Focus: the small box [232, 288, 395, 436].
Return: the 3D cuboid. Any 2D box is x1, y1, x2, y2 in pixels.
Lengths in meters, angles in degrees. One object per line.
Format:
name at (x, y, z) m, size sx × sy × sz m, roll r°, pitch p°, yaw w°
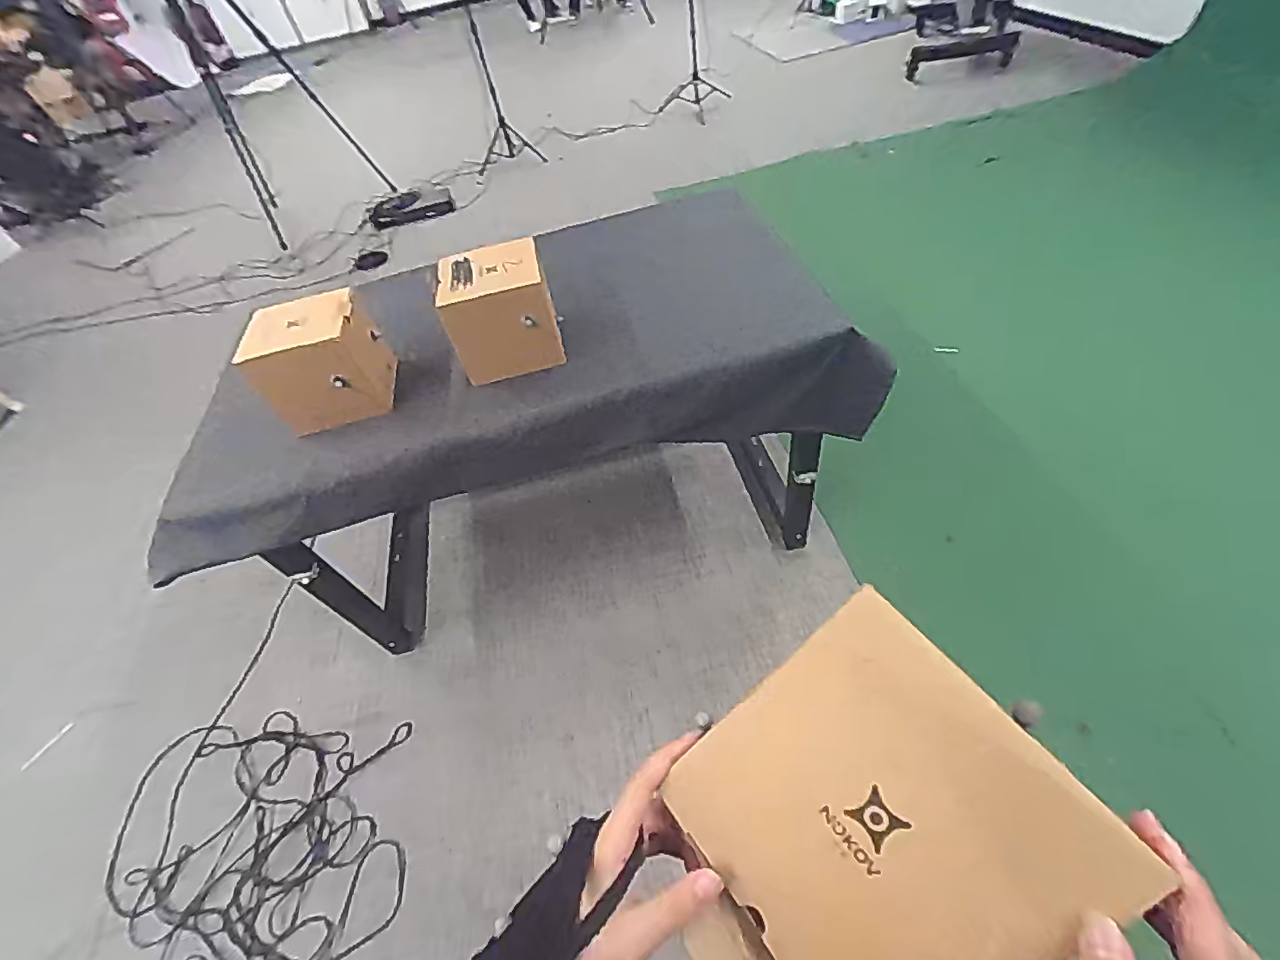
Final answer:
small box at (-0.557, -0.205, 0.955) m, size 0.179 × 0.176 × 0.168 m, roll -16°, pitch 49°, yaw -2°
